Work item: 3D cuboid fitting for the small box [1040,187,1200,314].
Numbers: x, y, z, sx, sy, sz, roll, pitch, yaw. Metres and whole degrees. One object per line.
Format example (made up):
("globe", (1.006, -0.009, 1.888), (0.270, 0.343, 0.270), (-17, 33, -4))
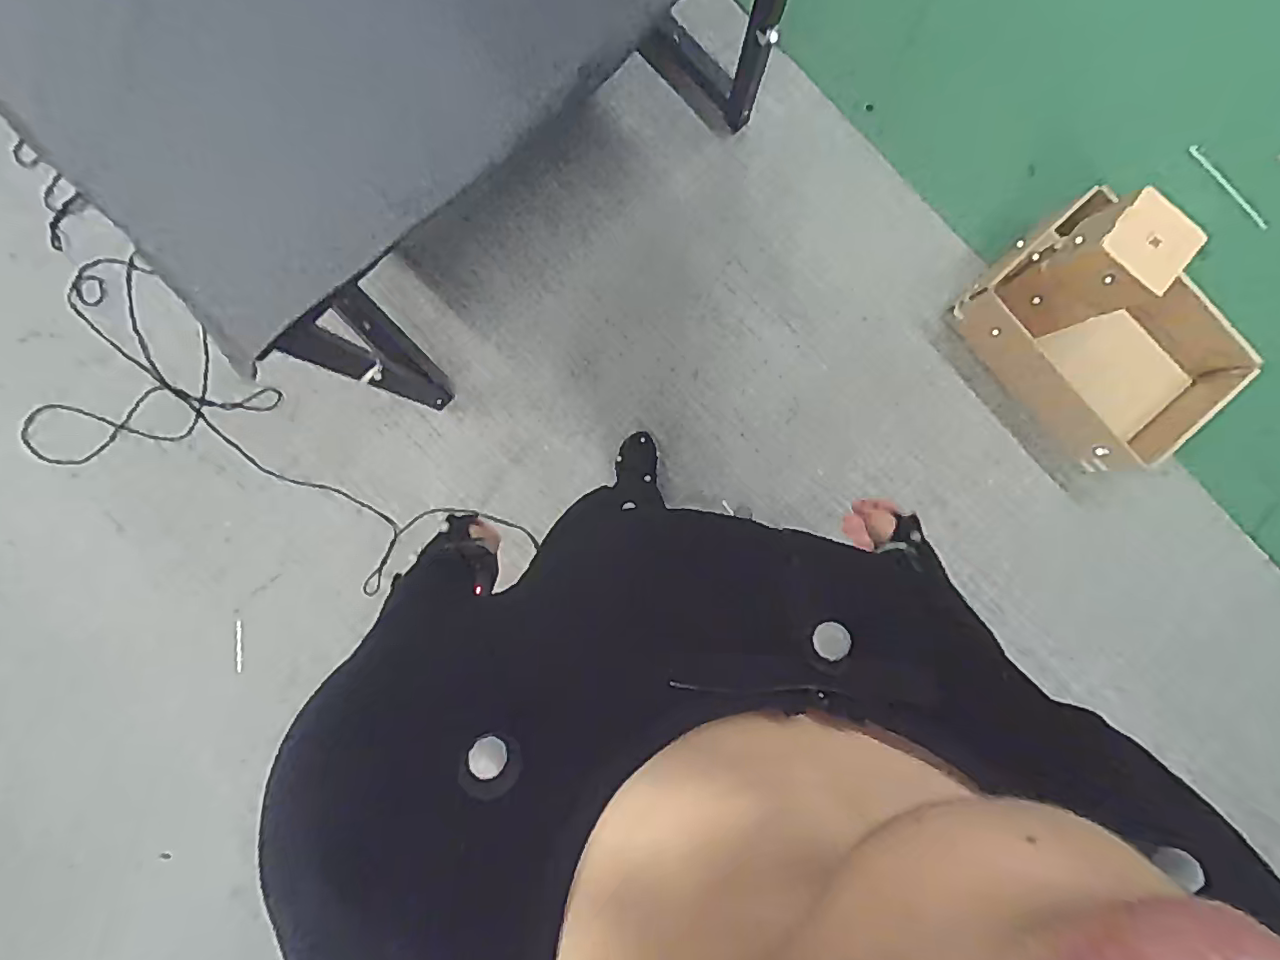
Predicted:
("small box", (1.064, -0.502, 1.216), (0.179, 0.176, 0.168), (38, 91, -3))

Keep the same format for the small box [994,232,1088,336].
("small box", (1.064, -0.499, 1.381), (0.168, 0.176, 0.179), (-42, 90, -1))
